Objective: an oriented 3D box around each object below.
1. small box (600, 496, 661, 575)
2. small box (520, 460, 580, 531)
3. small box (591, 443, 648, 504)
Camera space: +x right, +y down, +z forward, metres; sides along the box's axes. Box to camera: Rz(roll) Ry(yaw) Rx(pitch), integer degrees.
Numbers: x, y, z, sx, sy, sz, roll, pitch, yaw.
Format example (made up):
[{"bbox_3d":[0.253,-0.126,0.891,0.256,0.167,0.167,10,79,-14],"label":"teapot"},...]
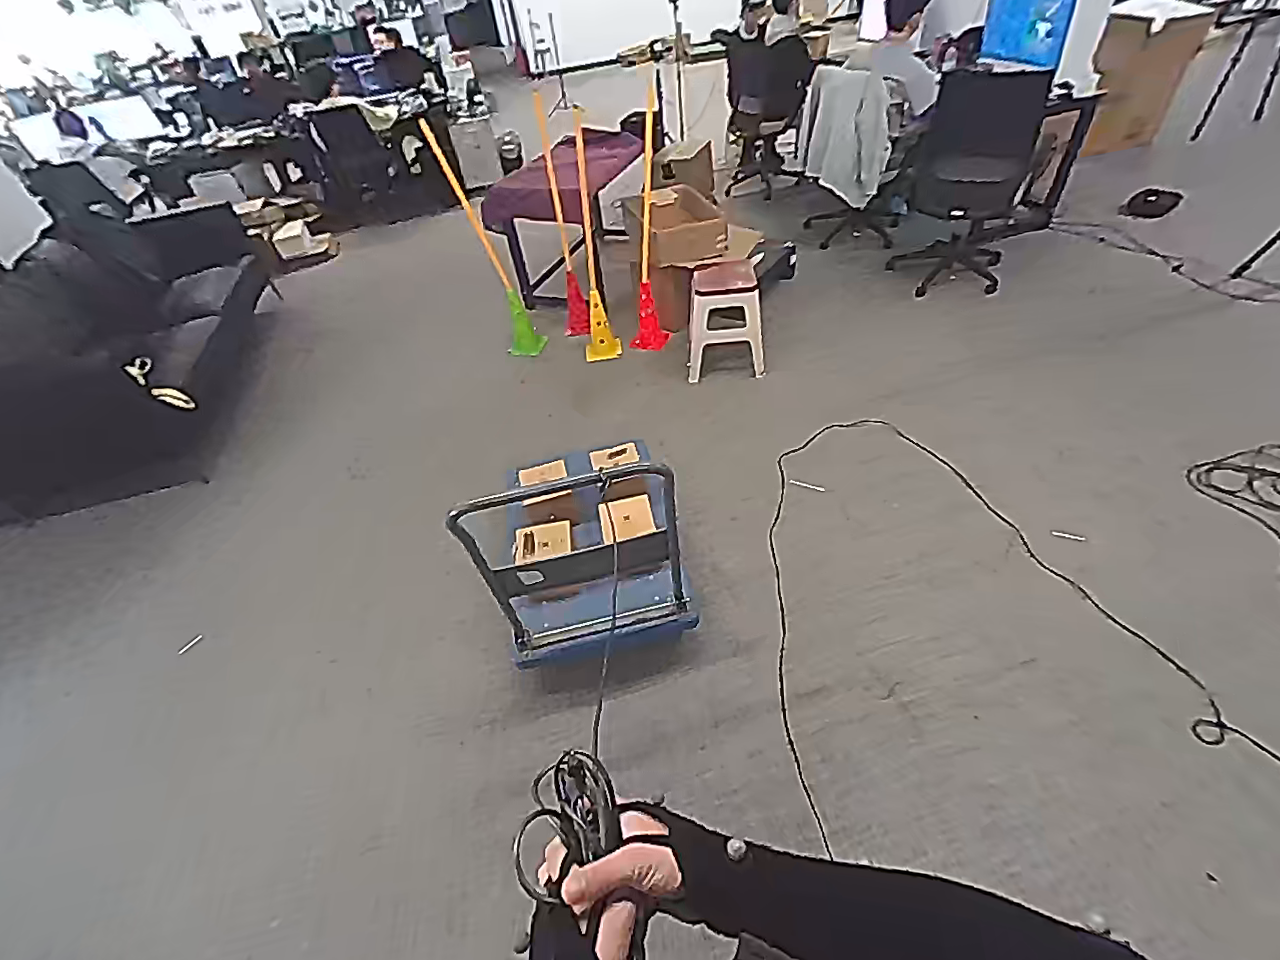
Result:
[{"bbox_3d":[-0.031,0.181,1.761,0.168,0.176,0.179,-11,47,-2],"label":"small box"},{"bbox_3d":[-0.320,0.061,1.925,0.168,0.176,0.179,-15,45,-6],"label":"small box"},{"bbox_3d":[-0.071,-0.002,1.942,0.168,0.176,0.179,-14,46,-4],"label":"small box"}]
